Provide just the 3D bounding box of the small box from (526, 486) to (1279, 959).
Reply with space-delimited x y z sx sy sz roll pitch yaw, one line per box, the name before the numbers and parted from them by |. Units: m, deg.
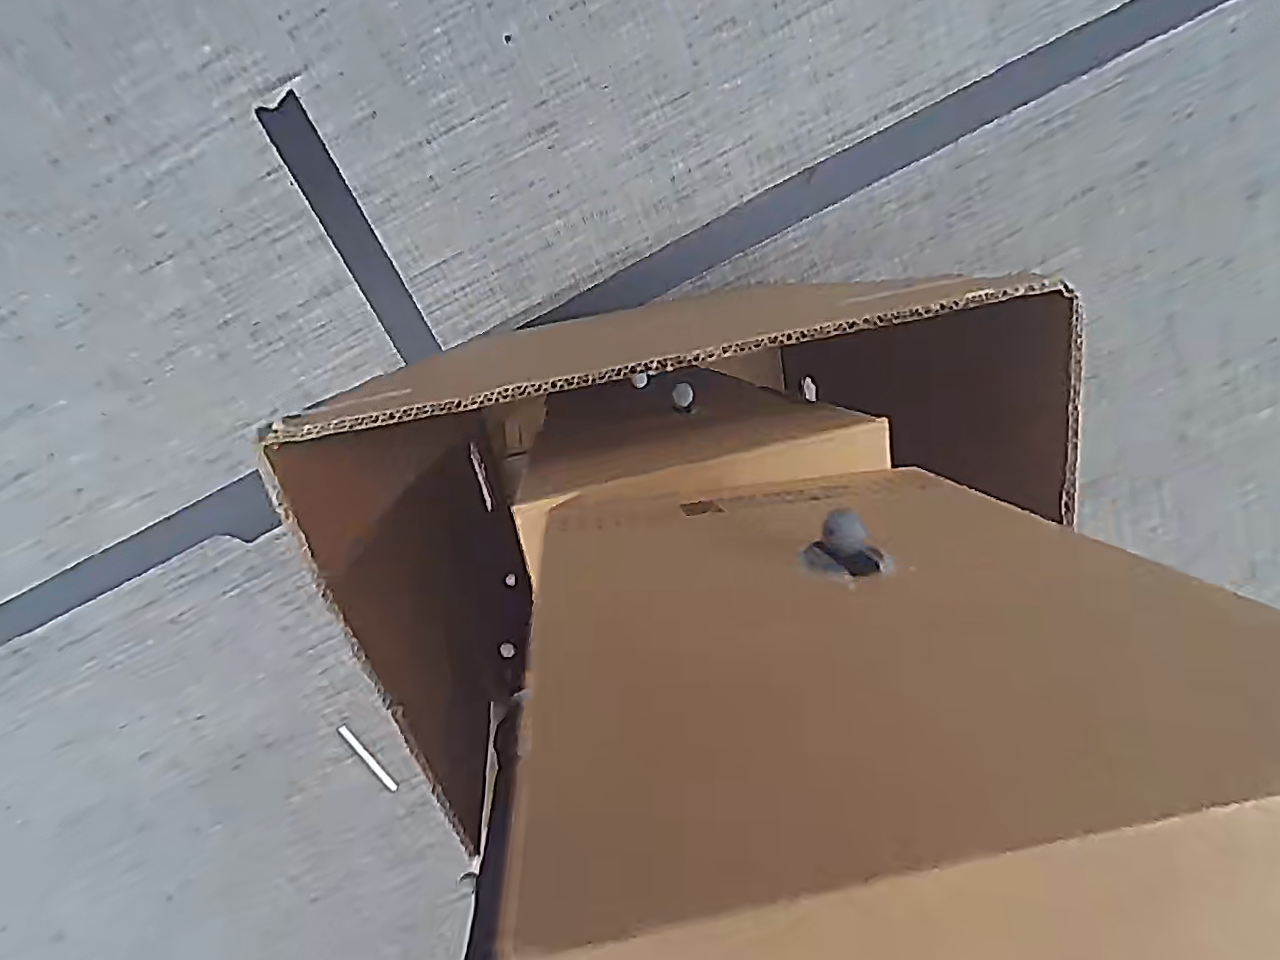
small box | 0.057 0.106 0.176 0.168 0.176 0.179 -6 106 -6
